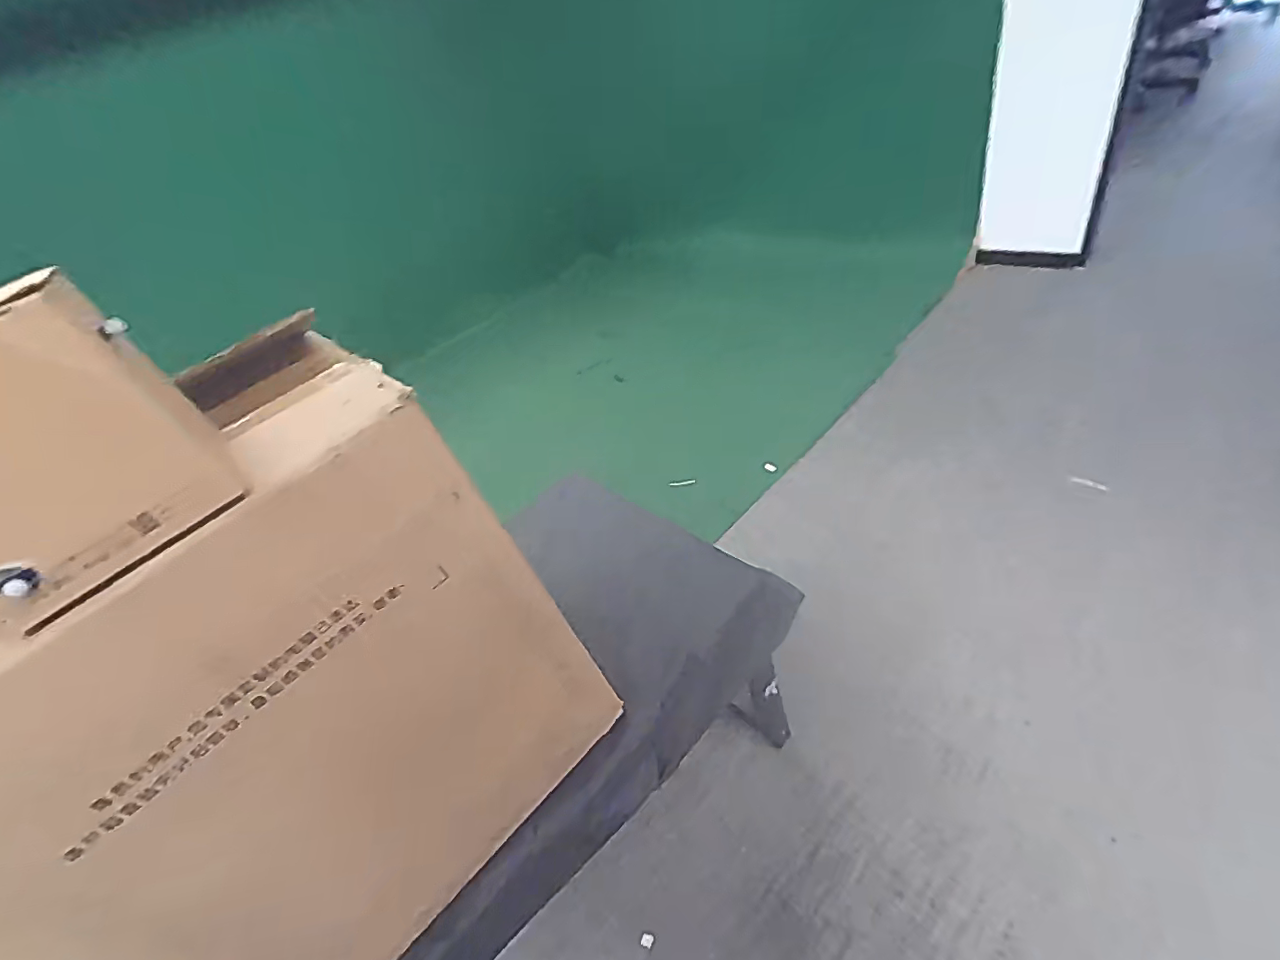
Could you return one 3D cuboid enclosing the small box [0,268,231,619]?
[{"bbox_3d":[-0.439,-0.029,0.389,0.168,0.176,0.179,-41,43,-23],"label":"small box"}]
